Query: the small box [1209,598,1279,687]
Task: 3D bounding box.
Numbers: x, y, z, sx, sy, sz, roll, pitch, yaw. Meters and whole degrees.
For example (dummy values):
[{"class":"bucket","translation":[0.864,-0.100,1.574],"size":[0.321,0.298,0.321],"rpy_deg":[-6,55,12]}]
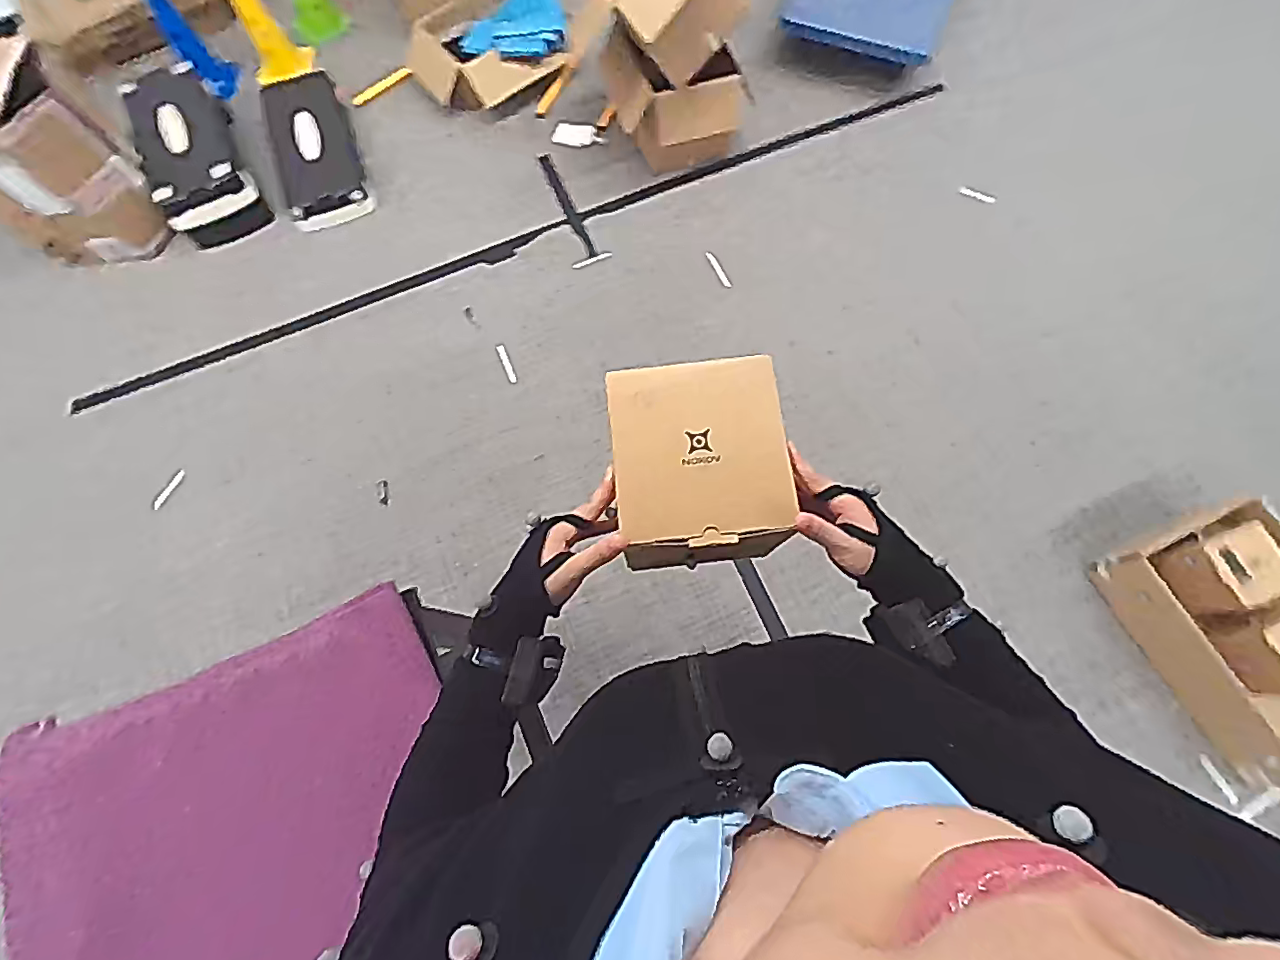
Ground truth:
[{"class":"small box","translation":[1.595,0.404,1.344],"size":[0.179,0.176,0.168],"rpy_deg":[-26,73,-7]}]
